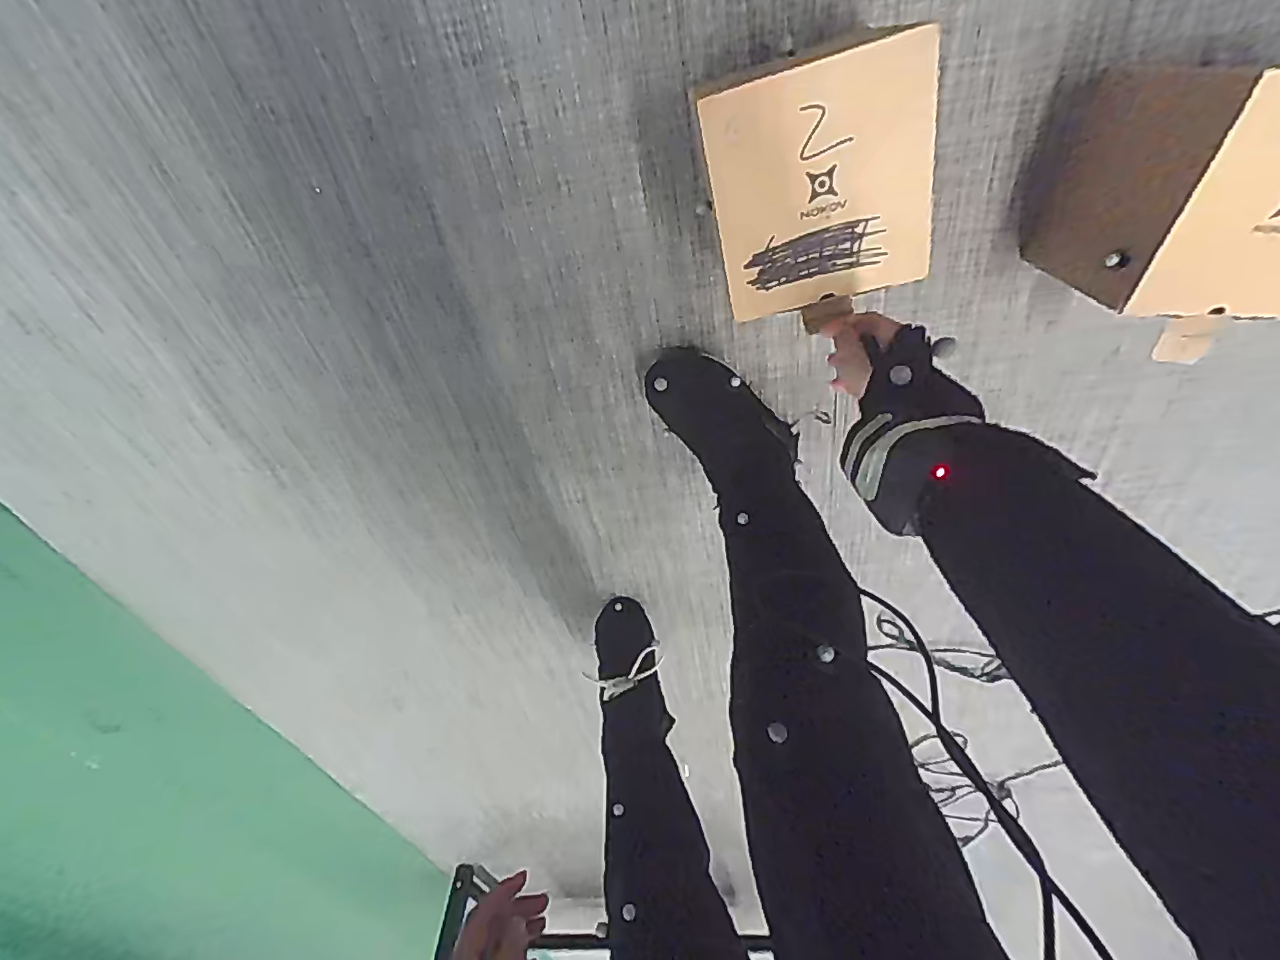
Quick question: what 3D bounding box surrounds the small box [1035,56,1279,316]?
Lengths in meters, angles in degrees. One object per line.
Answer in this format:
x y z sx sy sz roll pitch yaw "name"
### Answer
0.501 -0.260 0.476 0.168 0.176 0.179 2 129 1 "small box"
